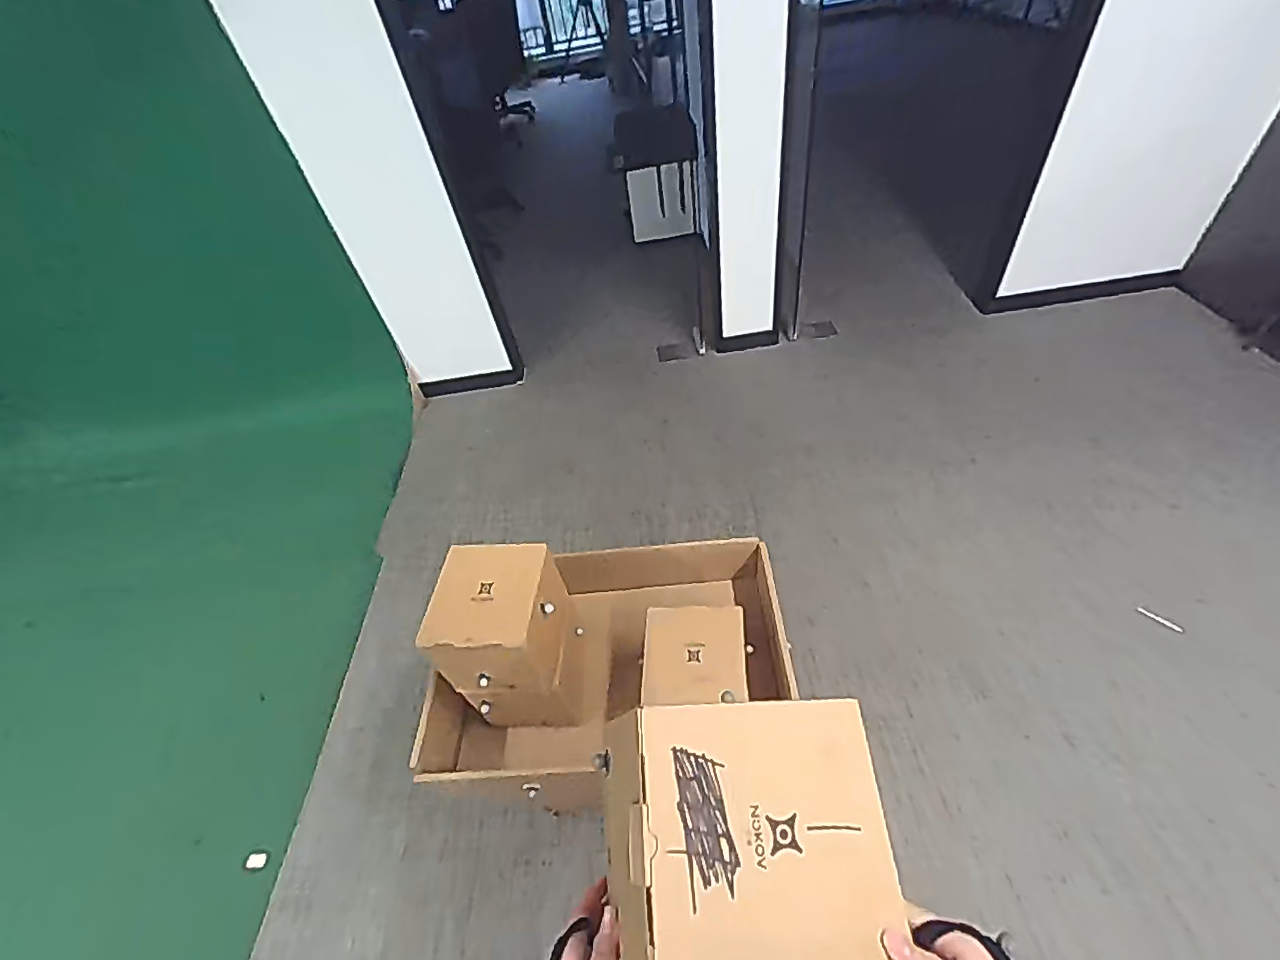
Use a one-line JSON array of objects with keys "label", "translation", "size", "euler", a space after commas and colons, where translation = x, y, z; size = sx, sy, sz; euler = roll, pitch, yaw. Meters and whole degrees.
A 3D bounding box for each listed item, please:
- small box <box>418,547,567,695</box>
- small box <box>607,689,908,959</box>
[{"label": "small box", "translation": [-0.222, 0.226, 0.873], "size": [0.168, 0.176, 0.179], "euler": [-2, 47, 9]}, {"label": "small box", "translation": [0.068, 0.268, 0.435], "size": [0.179, 0.176, 0.168], "euler": [3, 61, -12]}]
